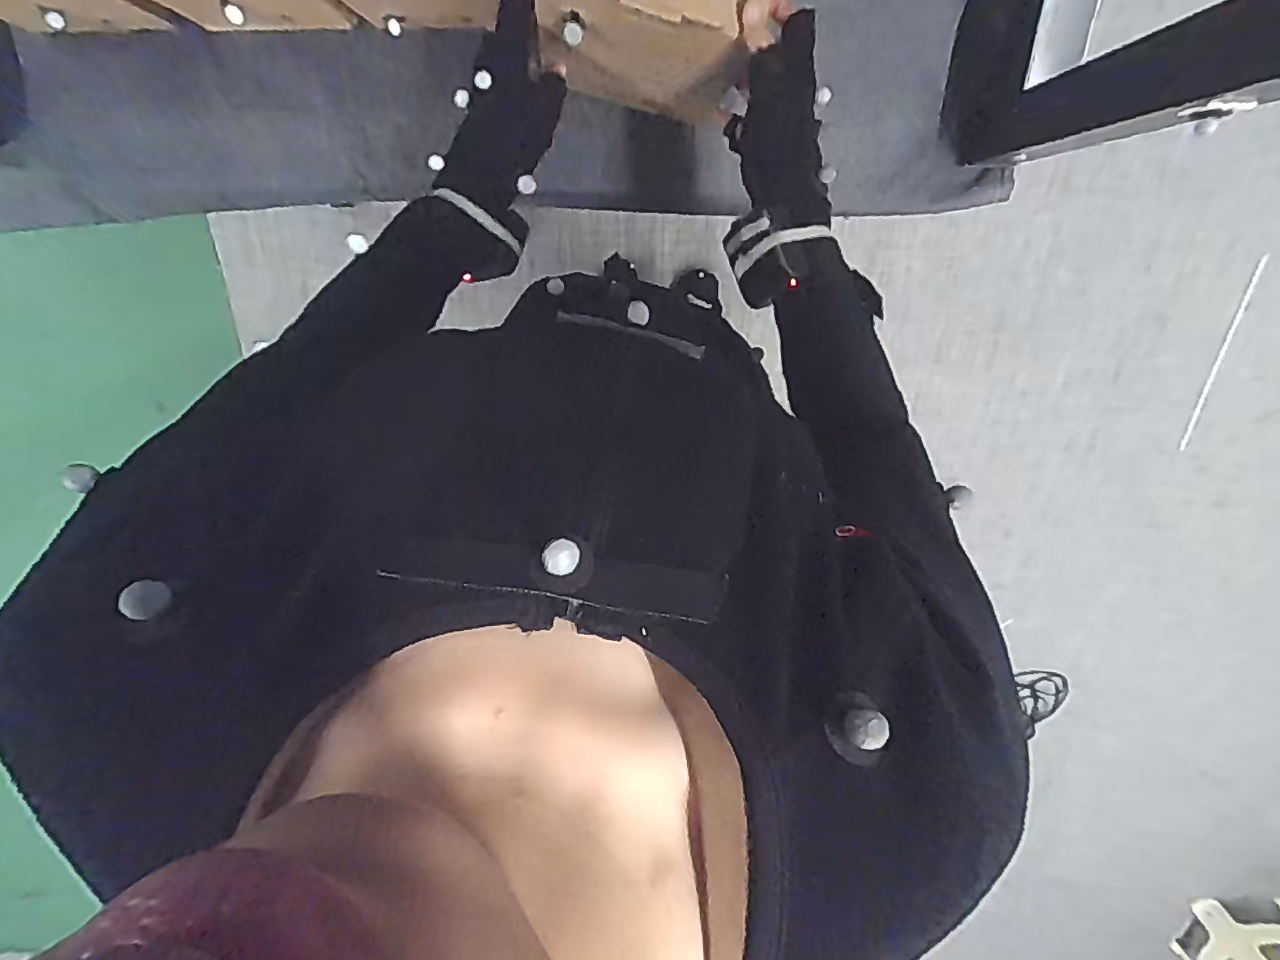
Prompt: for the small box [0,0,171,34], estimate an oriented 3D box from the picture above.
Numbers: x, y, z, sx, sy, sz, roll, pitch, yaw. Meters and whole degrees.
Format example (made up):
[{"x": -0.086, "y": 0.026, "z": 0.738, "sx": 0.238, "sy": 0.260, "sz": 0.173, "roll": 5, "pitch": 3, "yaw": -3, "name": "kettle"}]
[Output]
[{"x": -0.574, "y": -0.528, "z": 0.469, "sx": 0.168, "sy": 0.176, "sz": 0.179, "roll": 1, "pitch": 112, "yaw": 3, "name": "small box"}]
